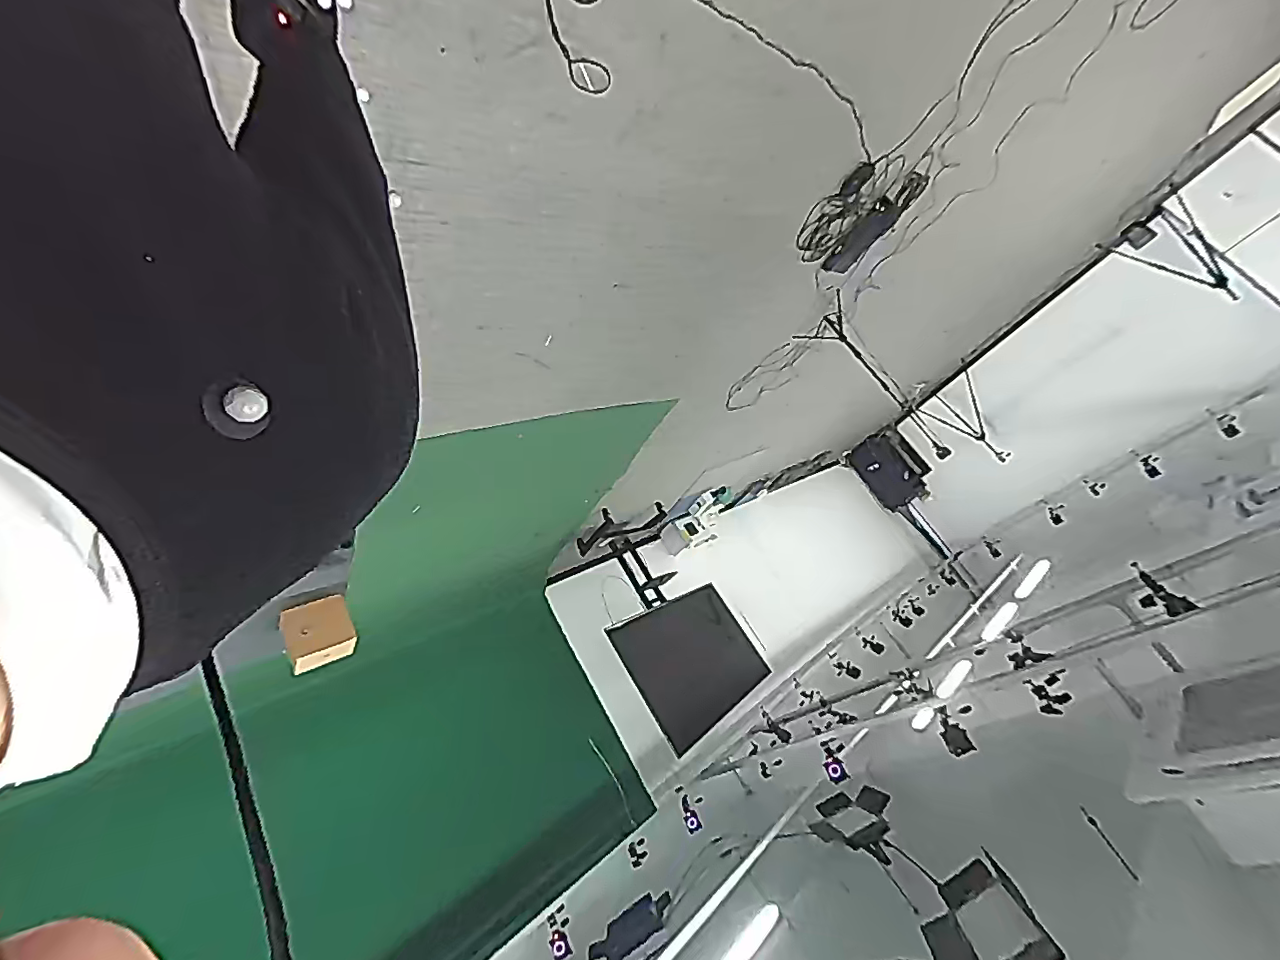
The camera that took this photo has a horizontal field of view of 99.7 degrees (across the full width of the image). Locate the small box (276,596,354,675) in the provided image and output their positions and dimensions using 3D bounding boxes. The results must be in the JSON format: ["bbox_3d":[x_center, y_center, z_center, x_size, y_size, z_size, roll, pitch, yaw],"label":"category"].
[{"bbox_3d":[-1.068,0.505,1.770,0.179,0.176,0.168,-15,157,-44],"label":"small box"}]
